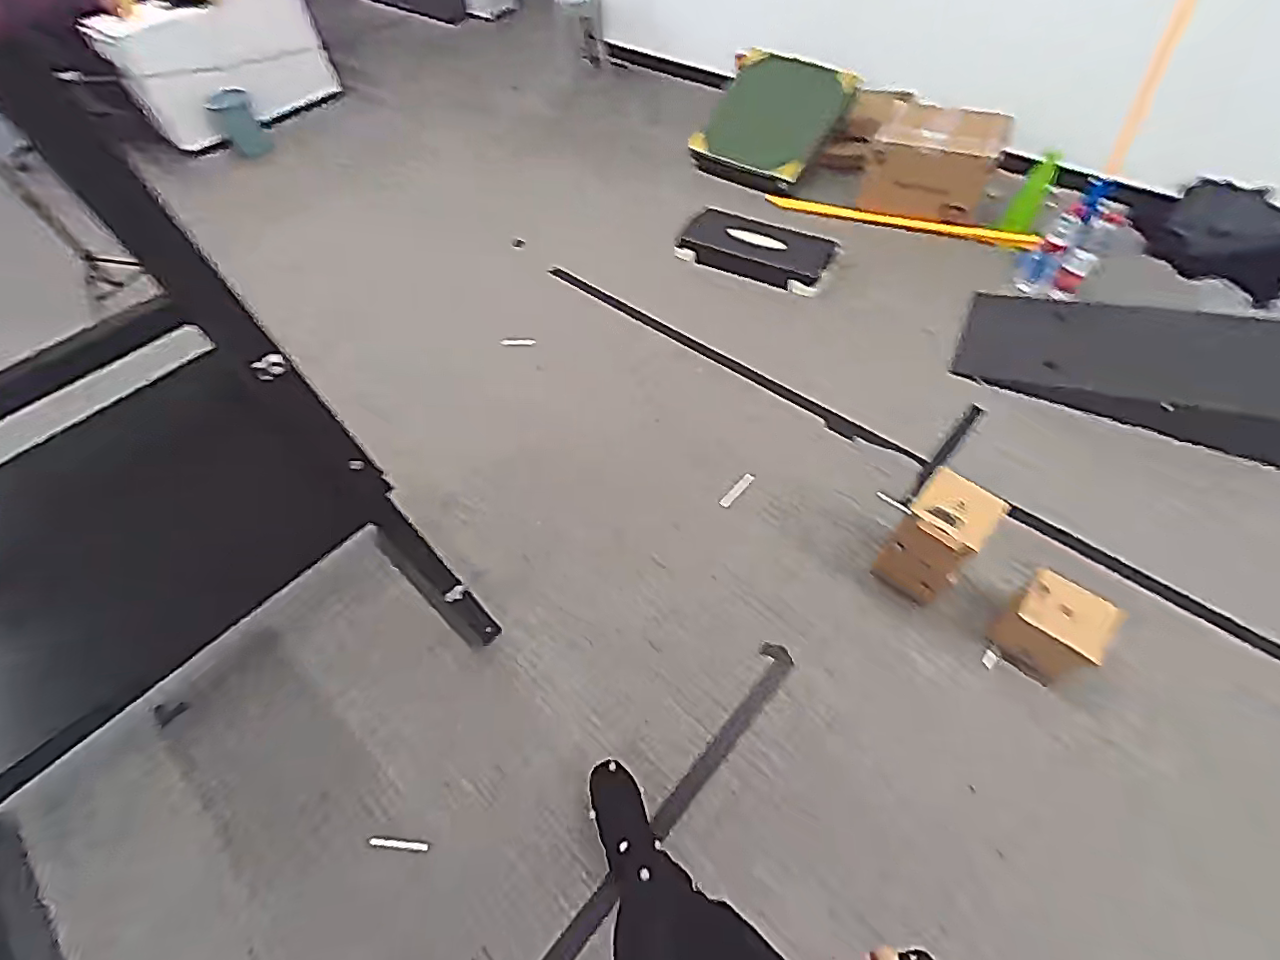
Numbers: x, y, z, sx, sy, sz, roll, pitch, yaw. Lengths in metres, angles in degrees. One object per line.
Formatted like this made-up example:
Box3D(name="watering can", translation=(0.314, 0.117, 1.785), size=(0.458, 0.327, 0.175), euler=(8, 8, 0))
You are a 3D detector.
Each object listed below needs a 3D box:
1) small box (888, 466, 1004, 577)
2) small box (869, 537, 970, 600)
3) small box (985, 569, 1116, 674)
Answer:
Box3D(name="small box", translation=(0.740, 0.108, 1.329), size=(0.168, 0.176, 0.179), euler=(38, 64, 24))
Box3D(name="small box", translation=(0.757, 0.202, 1.462), size=(0.179, 0.176, 0.168), euler=(34, 64, 24))
Box3D(name="small box", translation=(1.008, 0.358, 1.341), size=(0.179, 0.176, 0.168), euler=(35, 64, 23))
